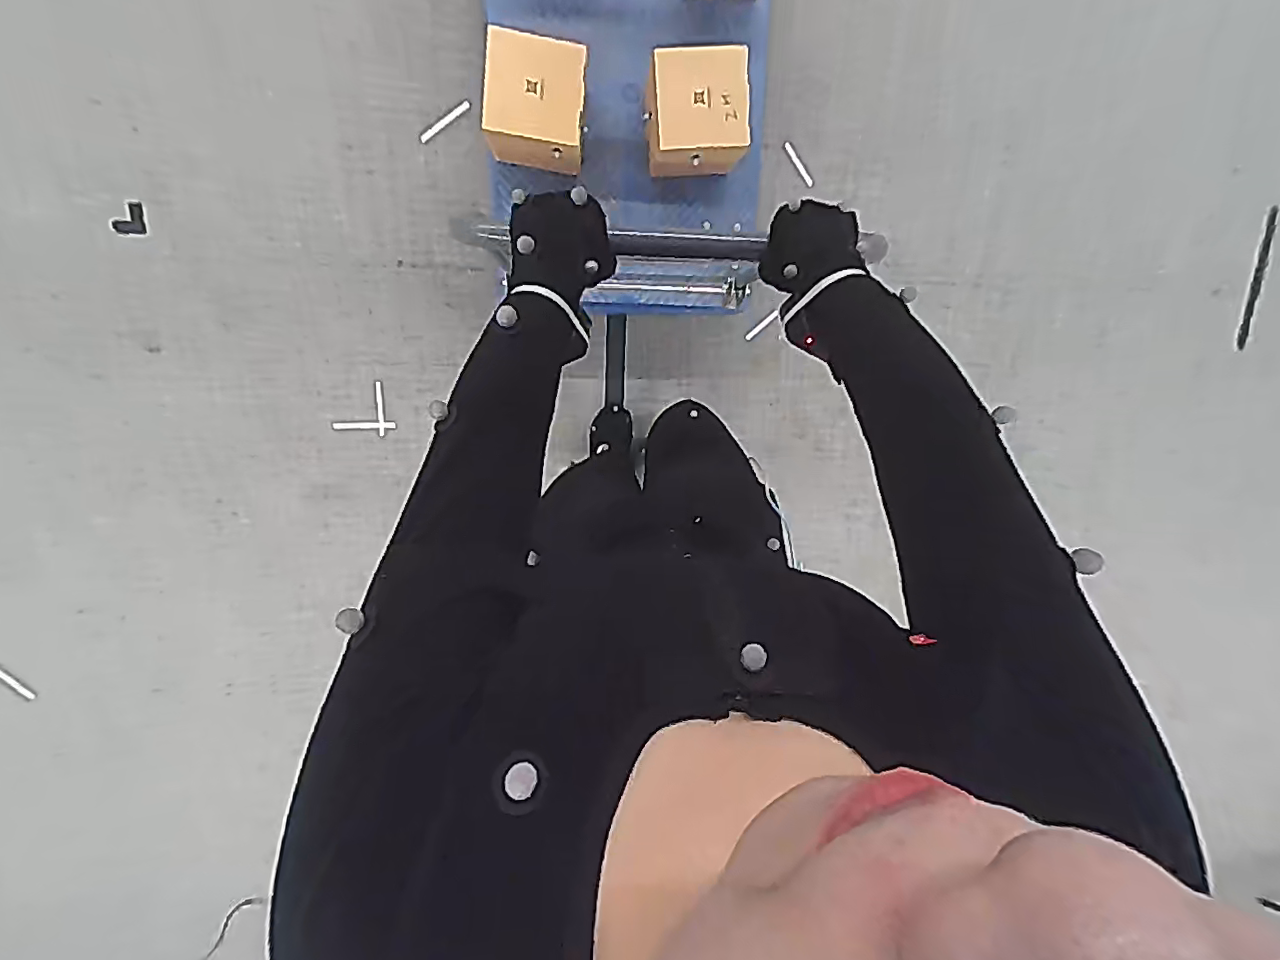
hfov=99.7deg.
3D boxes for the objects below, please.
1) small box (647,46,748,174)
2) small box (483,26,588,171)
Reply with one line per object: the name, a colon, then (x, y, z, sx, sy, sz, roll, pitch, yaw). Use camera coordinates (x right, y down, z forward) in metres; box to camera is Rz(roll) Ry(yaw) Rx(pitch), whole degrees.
small box: (0.107, -0.726, 1.079, 0.179, 0.176, 0.168, -5, 104, -5)
small box: (-0.197, -0.723, 1.048, 0.179, 0.176, 0.168, 5, 102, -9)
